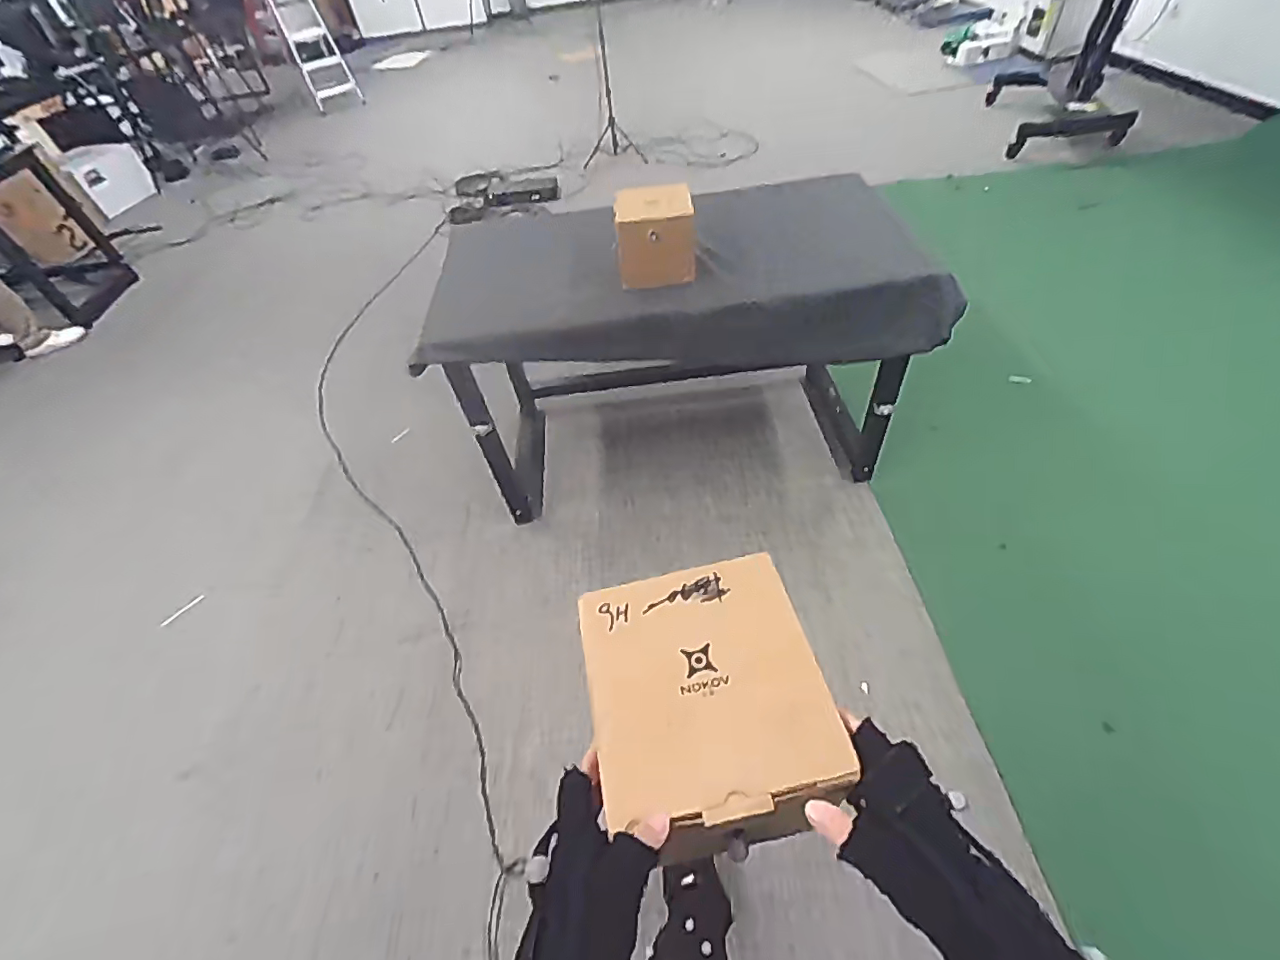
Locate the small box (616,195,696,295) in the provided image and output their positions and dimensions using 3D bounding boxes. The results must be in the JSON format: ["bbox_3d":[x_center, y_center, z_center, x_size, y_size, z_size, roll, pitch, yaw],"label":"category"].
[{"bbox_3d":[0.040,-0.563,1.306,0.179,0.176,0.168,-5,49,2],"label":"small box"}]
